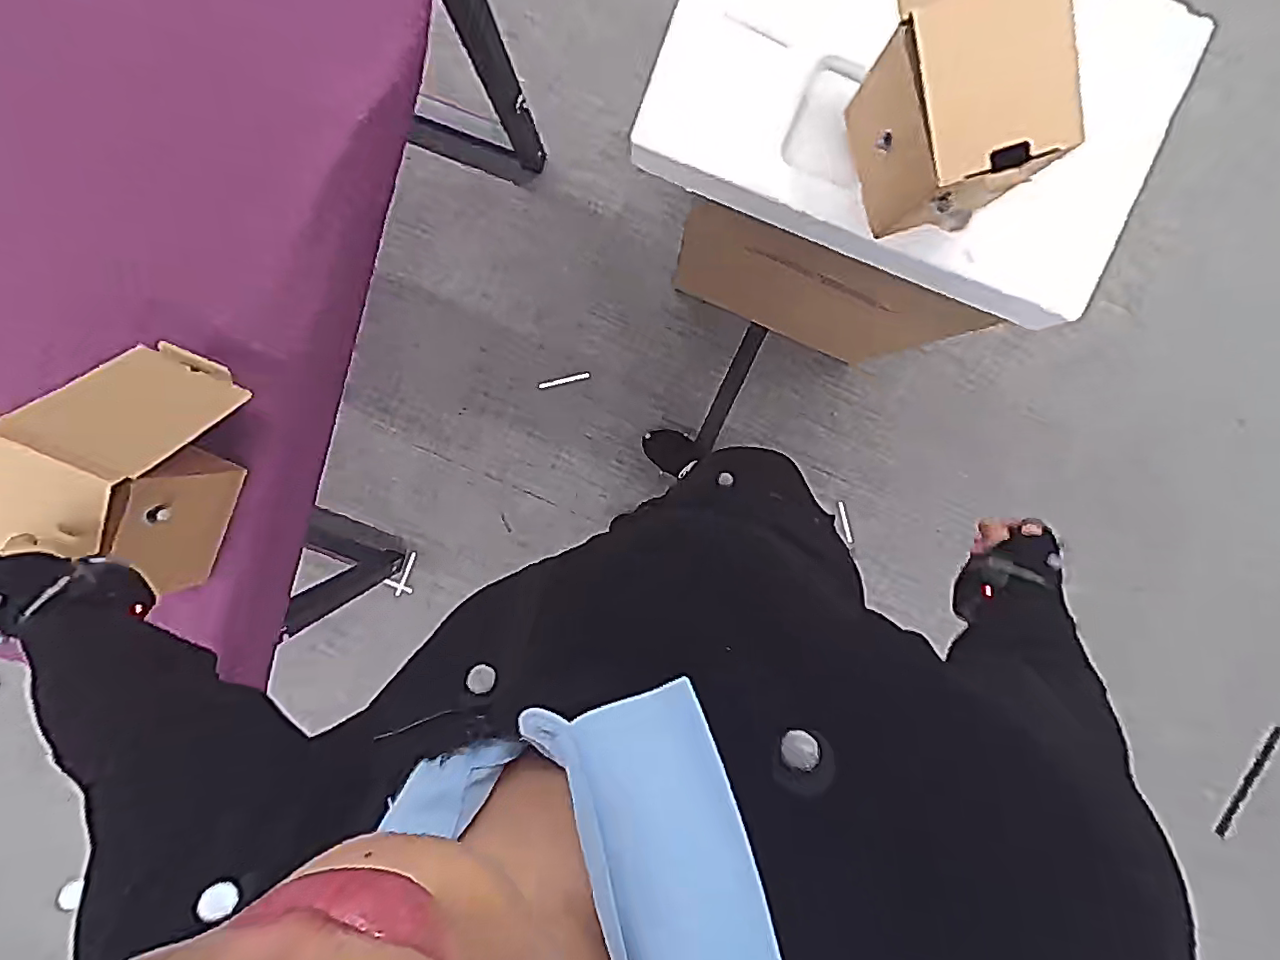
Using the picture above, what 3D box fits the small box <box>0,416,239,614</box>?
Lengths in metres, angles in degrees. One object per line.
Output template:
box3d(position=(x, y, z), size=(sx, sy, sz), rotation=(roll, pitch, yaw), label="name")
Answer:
box3d(position=(-0.655, 0.033, 0.676), size=(0.168, 0.176, 0.179), rotation=(24, 95, 0), label="small box")
